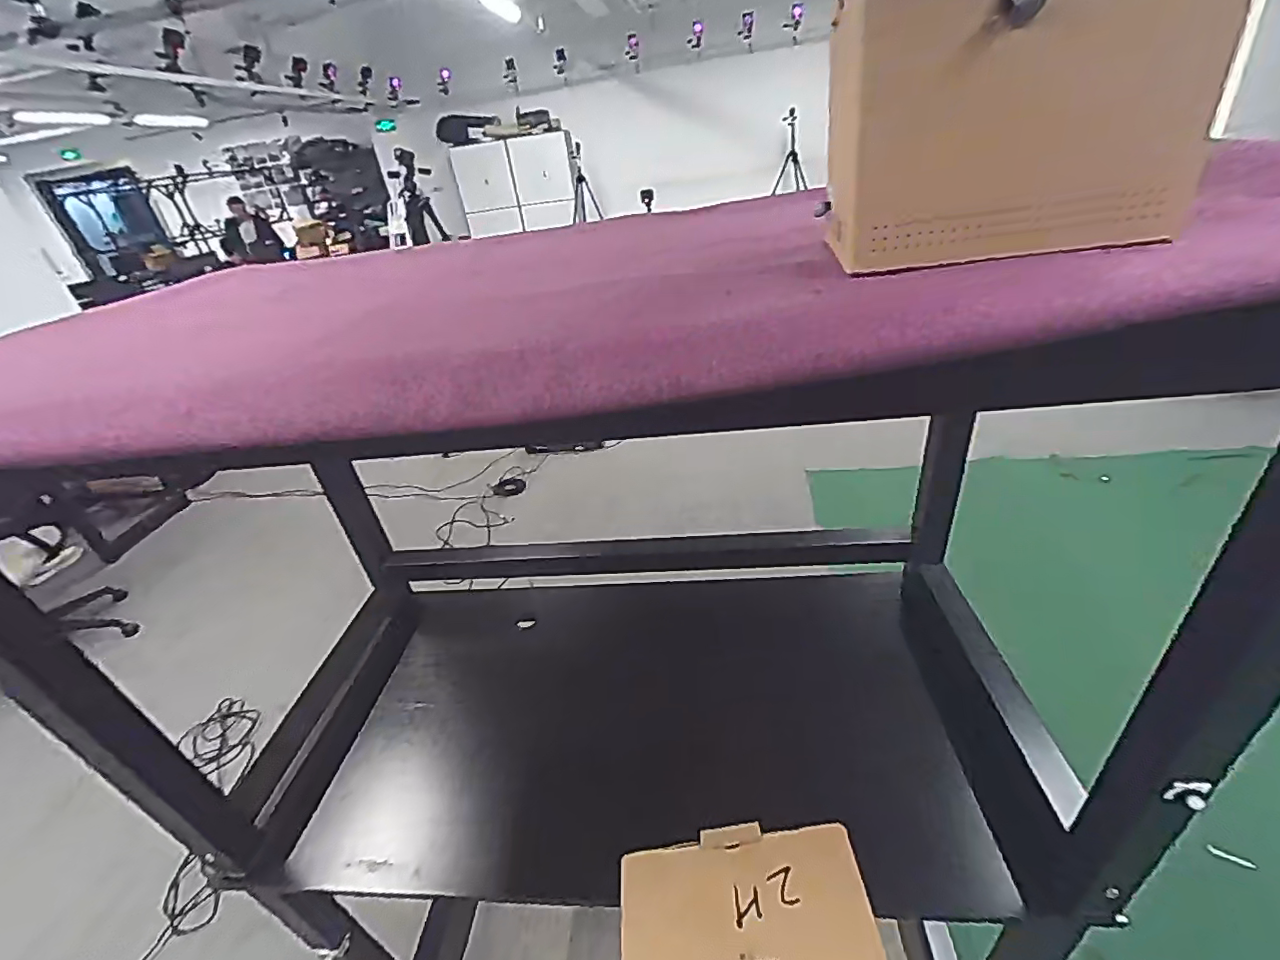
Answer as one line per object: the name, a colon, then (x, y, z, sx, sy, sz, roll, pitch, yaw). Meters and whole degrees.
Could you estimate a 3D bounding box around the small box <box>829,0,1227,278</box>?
small box: (0.221, -0.237, 0.353, 0.179, 0.176, 0.168, -1, 31, 13)
